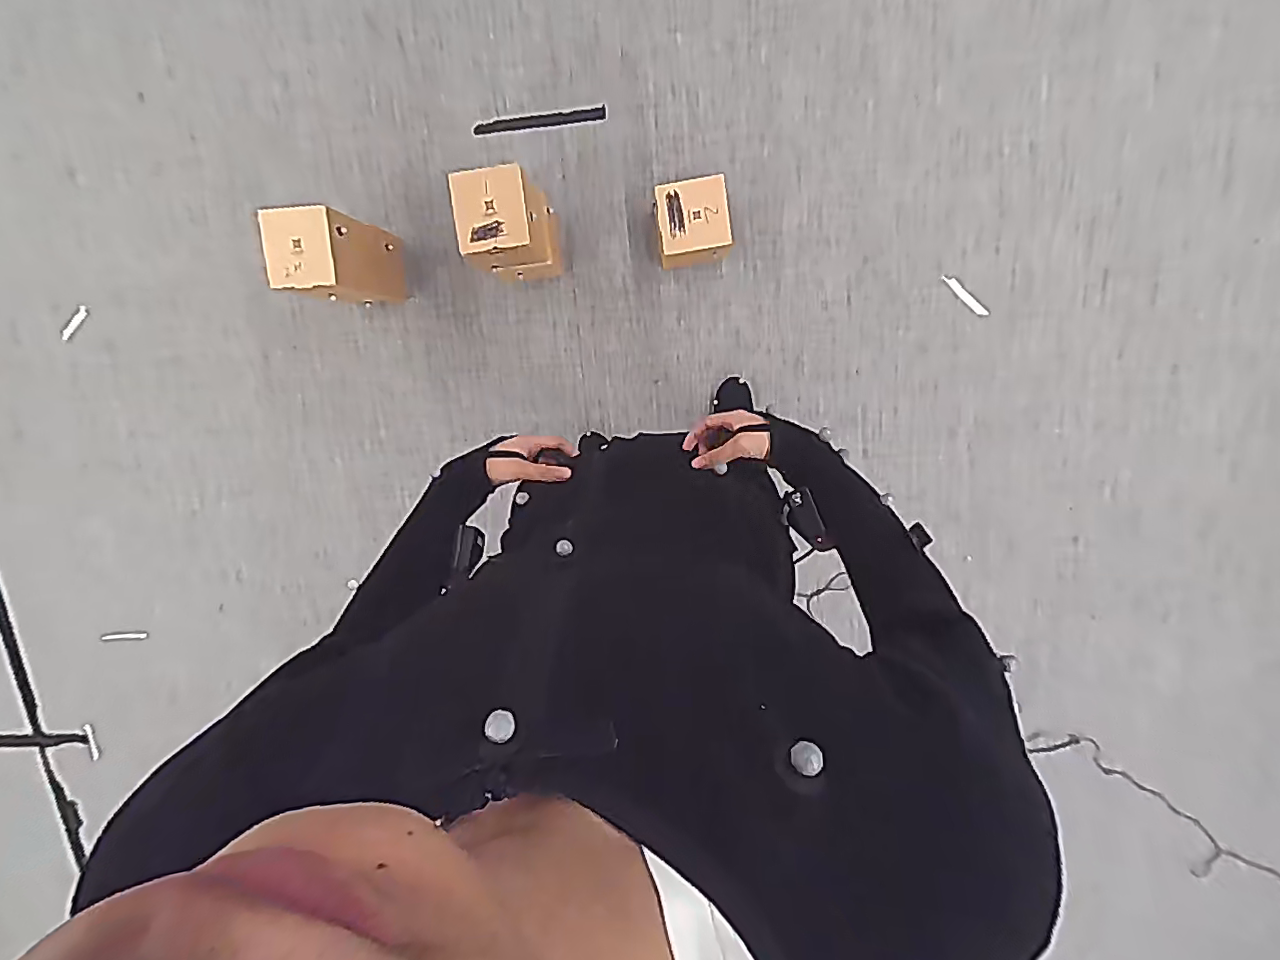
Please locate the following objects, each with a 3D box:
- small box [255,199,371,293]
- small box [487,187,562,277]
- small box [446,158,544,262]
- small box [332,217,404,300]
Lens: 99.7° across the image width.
[{"bbox_3d":[-0.780,-0.558,1.306,0.168,0.176,0.179,-1,101,5],"label":"small box"},{"bbox_3d":[-0.311,-0.647,1.432,0.168,0.176,0.179,-6,100,4],"label":"small box"},{"bbox_3d":[-0.332,-0.622,1.270,0.168,0.176,0.179,-6,99,4],"label":"small box"},{"bbox_3d":[-0.763,-0.593,1.466,0.168,0.176,0.179,-1,100,4],"label":"small box"}]
